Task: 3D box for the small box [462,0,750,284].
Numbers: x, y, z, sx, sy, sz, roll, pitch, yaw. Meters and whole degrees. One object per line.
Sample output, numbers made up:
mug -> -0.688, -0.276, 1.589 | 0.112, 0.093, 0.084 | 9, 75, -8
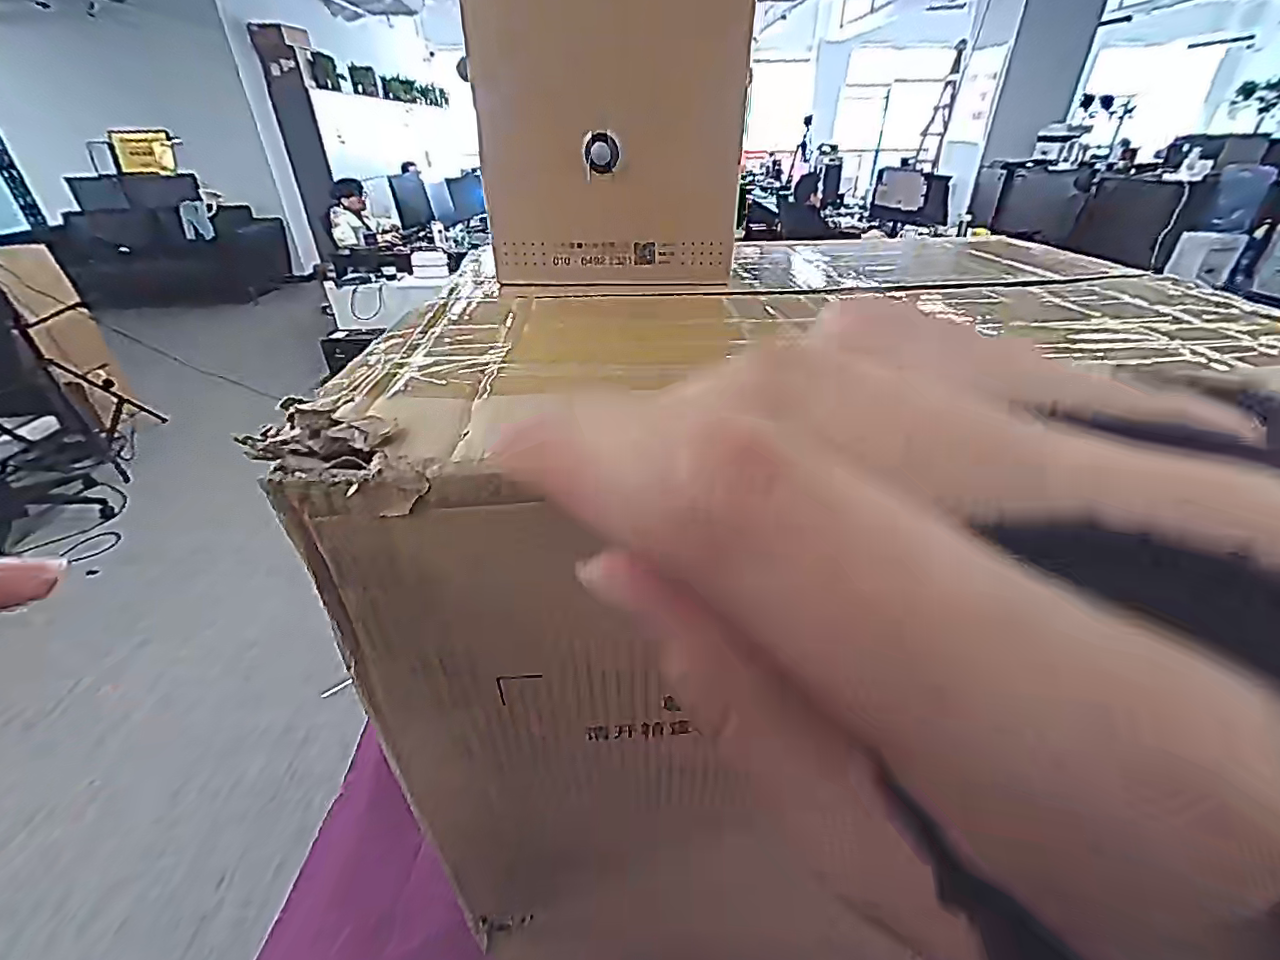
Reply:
small box -> -0.017, -0.251, 0.408 | 0.168, 0.176, 0.179 | 0, 32, -1
